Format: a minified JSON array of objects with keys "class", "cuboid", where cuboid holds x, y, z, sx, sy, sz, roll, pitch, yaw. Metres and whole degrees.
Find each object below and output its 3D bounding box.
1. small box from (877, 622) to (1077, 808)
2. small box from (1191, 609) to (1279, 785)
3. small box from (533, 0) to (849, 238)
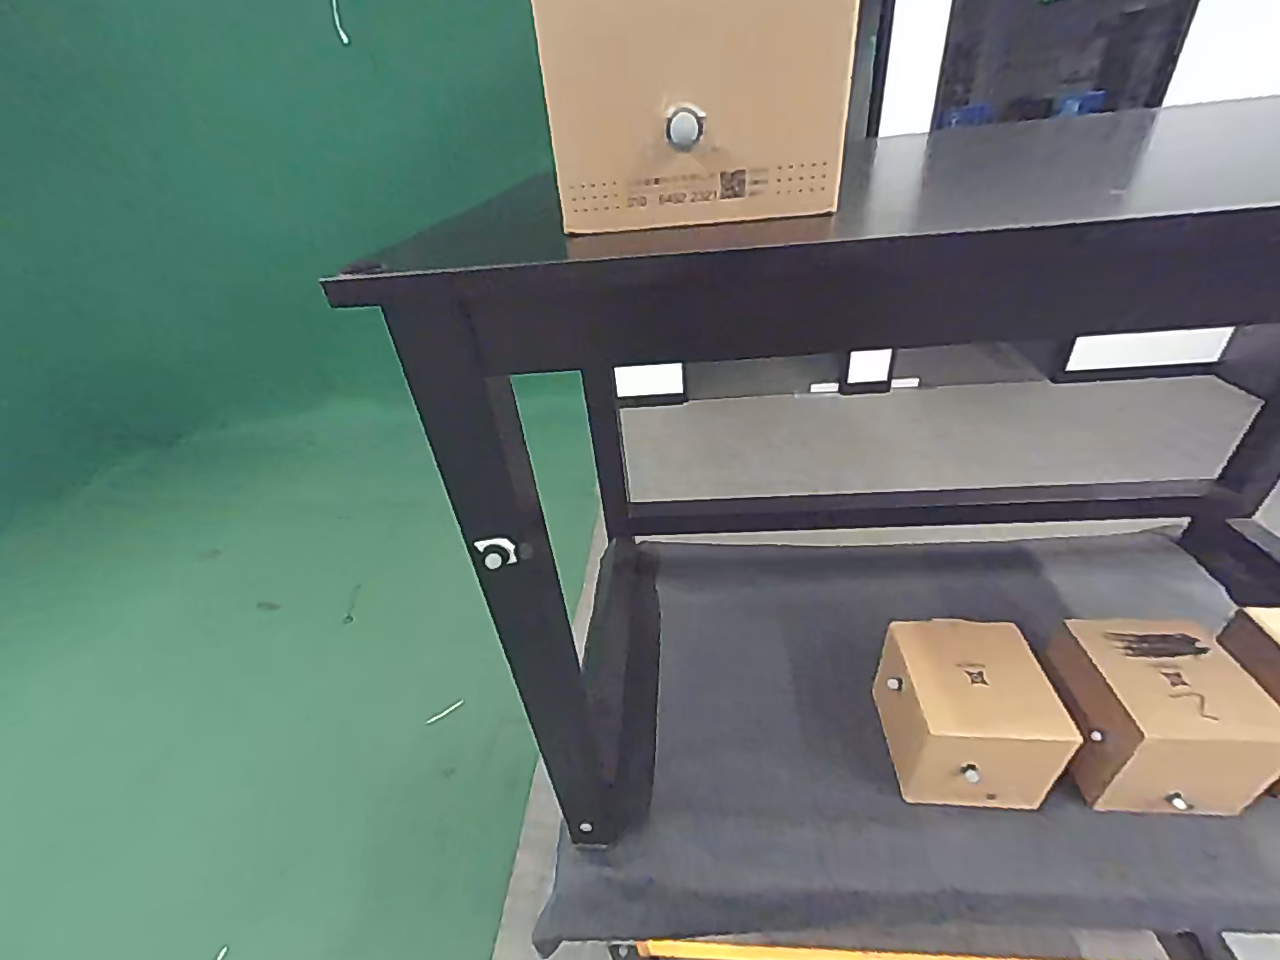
[{"class":"small box","cuboid":[0.436,0.317,0.736,0.168,0.176,0.179,-1,34,8]},{"class":"small box","cuboid":[0.886,0.289,0.691,0.168,0.176,0.179,-1,33,9]},{"class":"small box","cuboid":[0.031,-0.266,0.357,0.168,0.176,0.179,-2,35,7]}]
